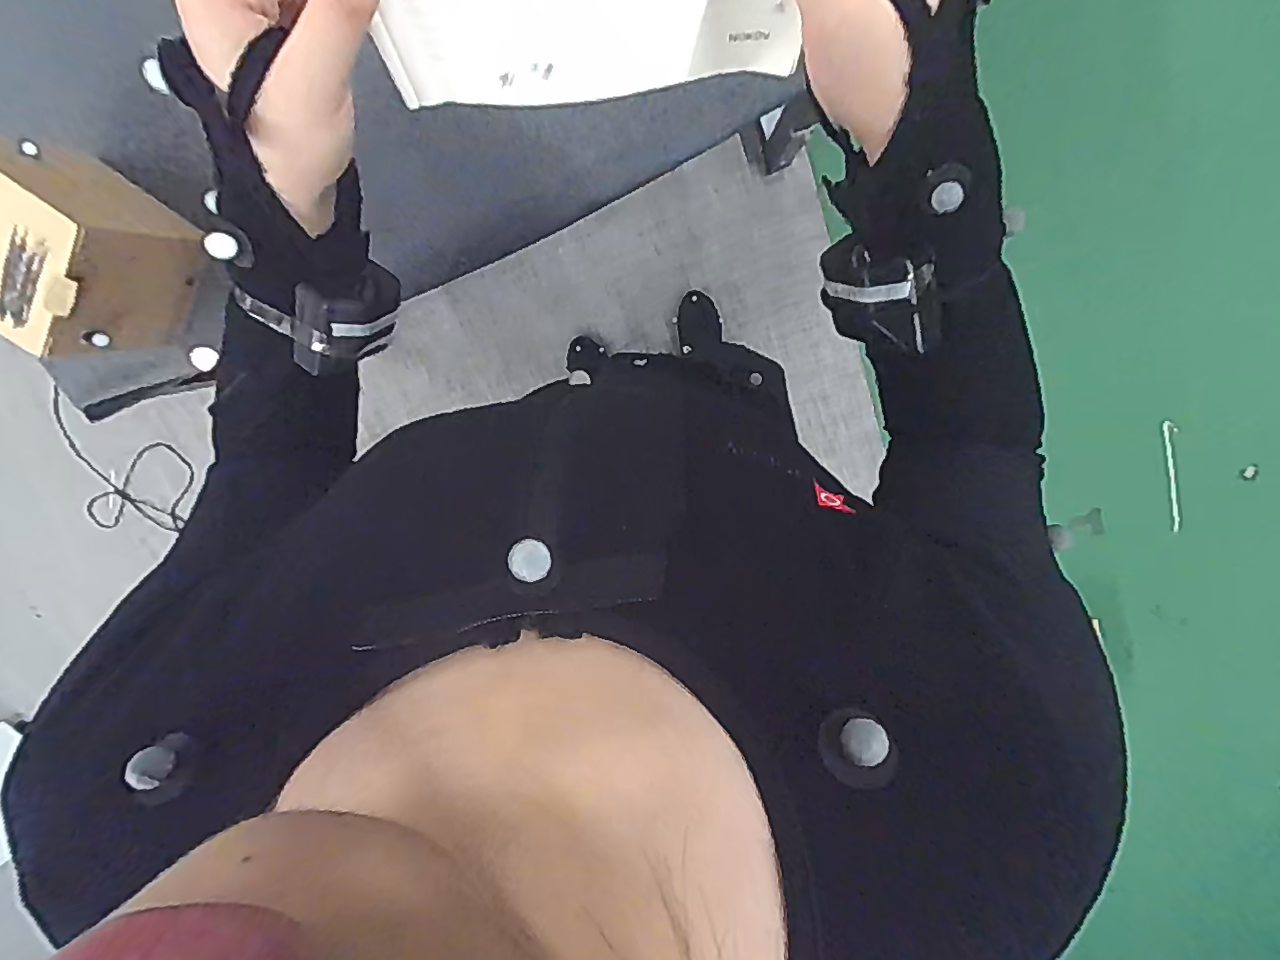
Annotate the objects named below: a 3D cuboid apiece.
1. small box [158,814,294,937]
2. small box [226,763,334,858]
[{"bbox_3d":[-1.038,0.988,1.370,0.168,0.176,0.179,-38,102,14],"label":"small box"},{"bbox_3d":[-1.018,0.948,1.527,0.168,0.176,0.179,-38,101,14],"label":"small box"}]
